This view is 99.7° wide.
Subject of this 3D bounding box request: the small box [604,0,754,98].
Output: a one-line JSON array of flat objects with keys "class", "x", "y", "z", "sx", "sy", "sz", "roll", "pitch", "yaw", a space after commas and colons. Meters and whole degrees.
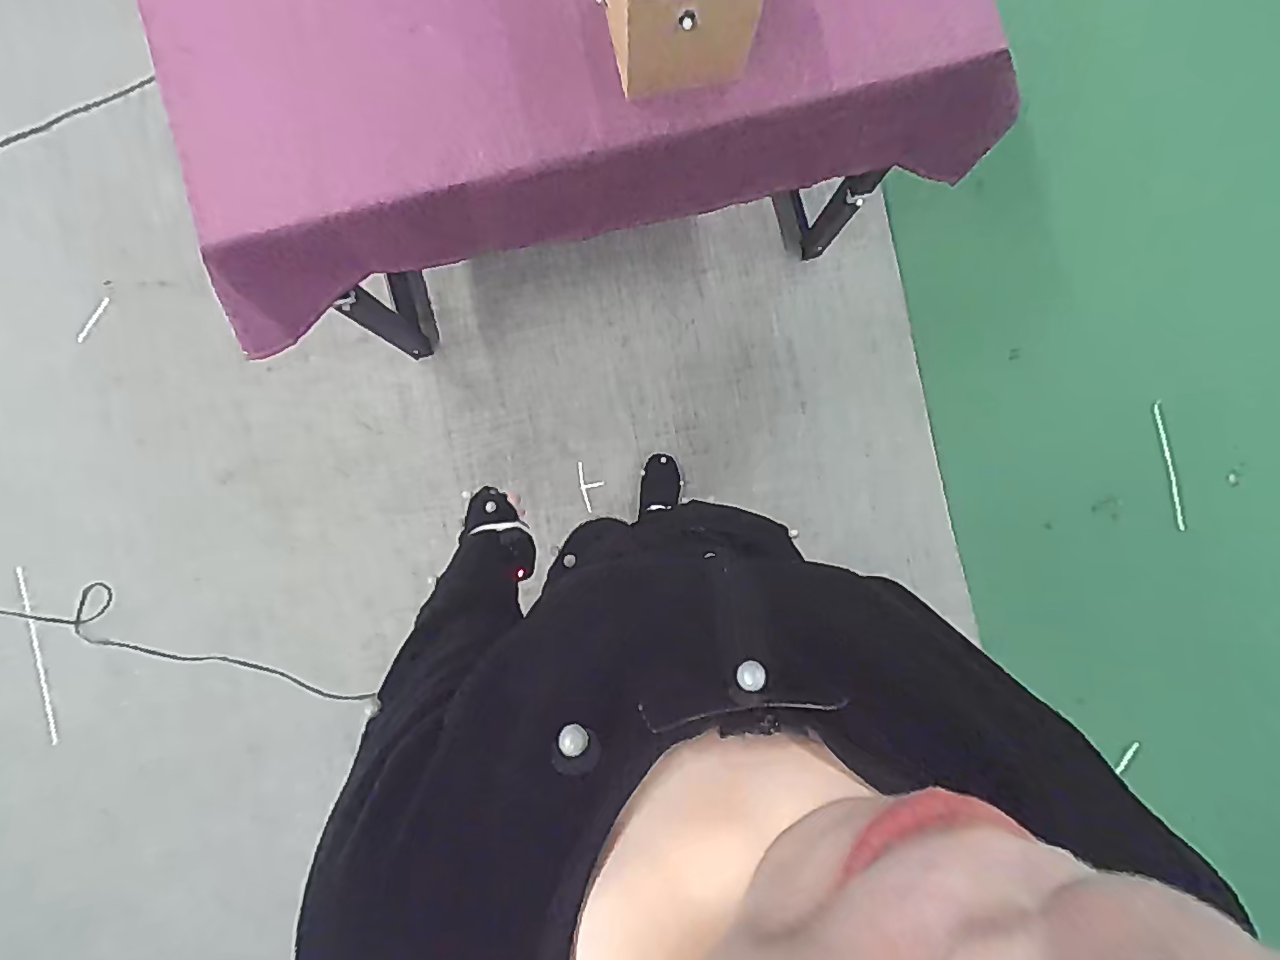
[{"class": "small box", "x": 0.046, "y": -0.644, "z": 0.709, "sx": 0.179, "sy": 0.176, "sz": 0.168, "roll": -13, "pitch": 89, "yaw": -2}]
